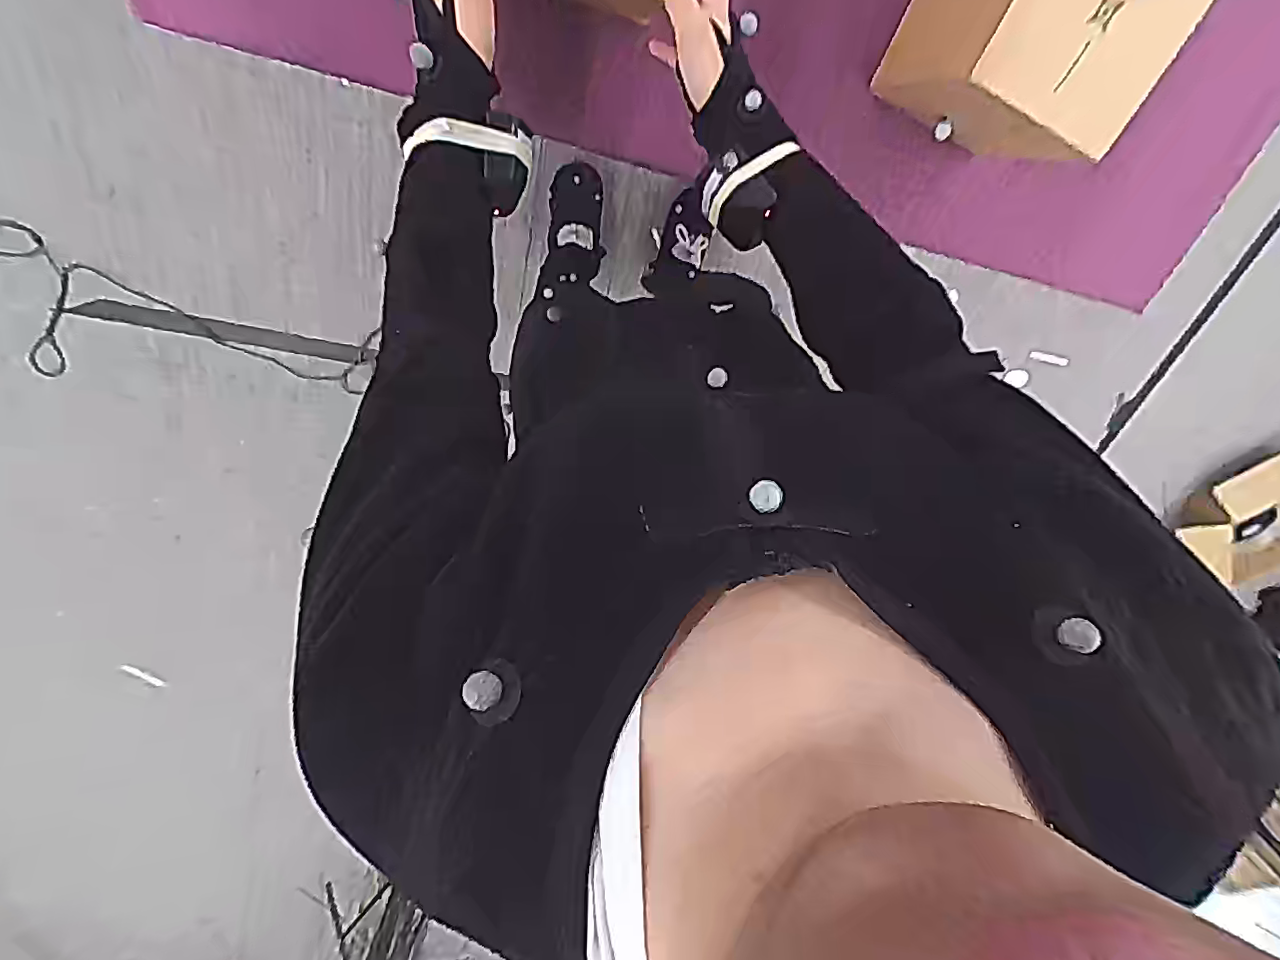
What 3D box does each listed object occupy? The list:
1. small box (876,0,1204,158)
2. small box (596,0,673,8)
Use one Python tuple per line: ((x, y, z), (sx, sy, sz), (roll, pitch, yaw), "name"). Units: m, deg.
((0.356, -0.426, 0.493), (0.168, 0.176, 0.179), (15, 120, -19), "small box")
((-0.044, -0.472, 0.388), (0.179, 0.176, 0.168), (7, 124, -14), "small box")
